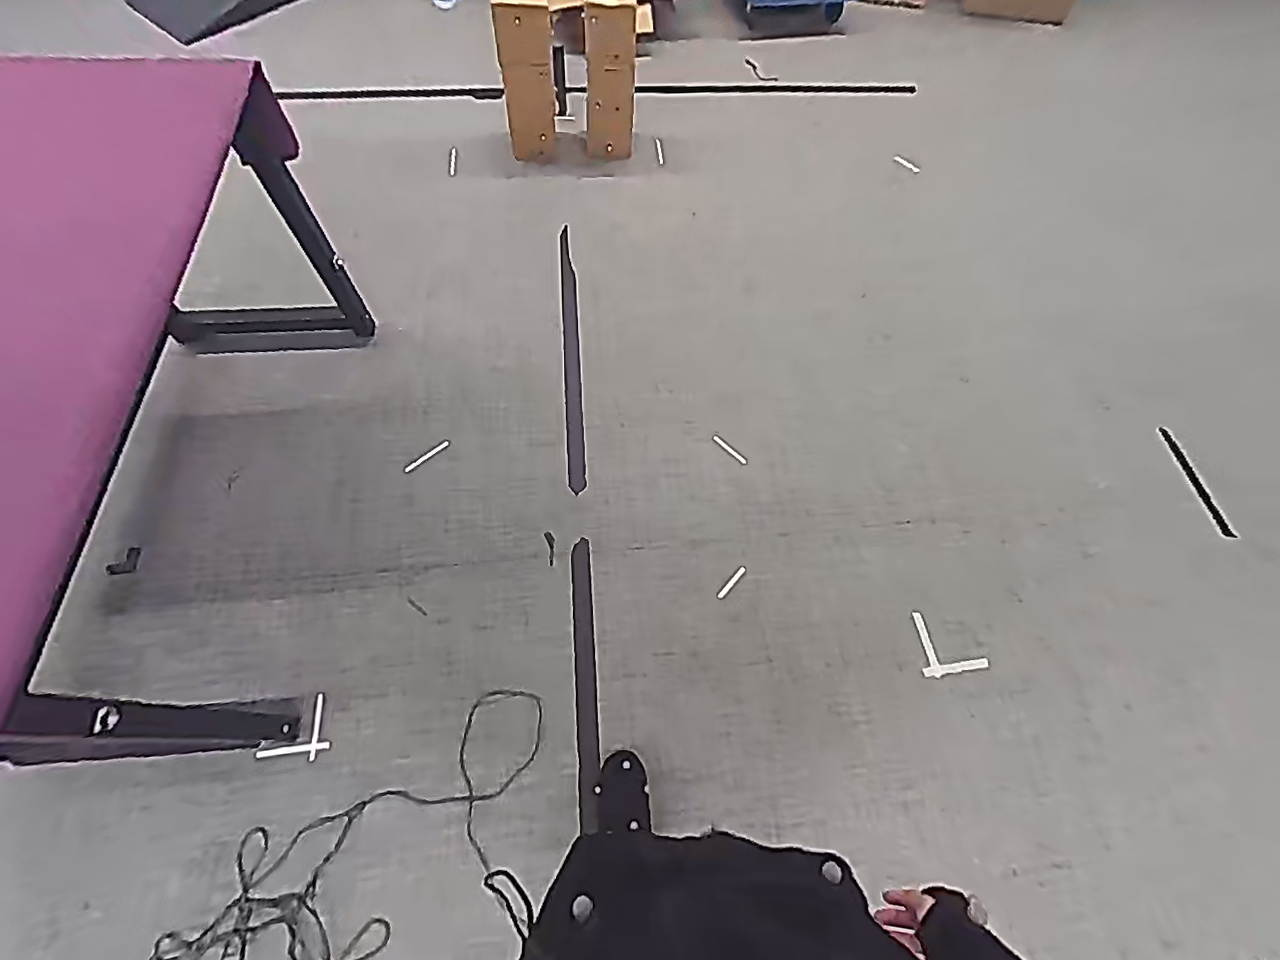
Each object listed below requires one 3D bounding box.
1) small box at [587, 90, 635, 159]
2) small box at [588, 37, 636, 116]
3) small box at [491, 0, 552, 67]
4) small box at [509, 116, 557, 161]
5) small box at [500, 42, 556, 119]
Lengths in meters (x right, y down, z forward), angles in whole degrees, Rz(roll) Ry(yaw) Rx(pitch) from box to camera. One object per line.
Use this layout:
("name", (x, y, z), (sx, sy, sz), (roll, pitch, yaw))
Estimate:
("small box", (-0.114, -1.366, 2.075), (0.179, 0.176, 0.168), (1, 65, -4))
("small box", (-0.100, -1.431, 1.924), (0.168, 0.176, 0.179), (0, 64, -4))
("small box", (-0.378, -1.471, 1.745), (0.179, 0.176, 0.168), (-3, 65, -8))
("small box", (-0.402, -1.336, 2.042), (0.168, 0.176, 0.179), (-4, 64, -7))
("small box", (-0.388, -1.399, 1.892), (0.179, 0.176, 0.168), (-3, 65, -7))
